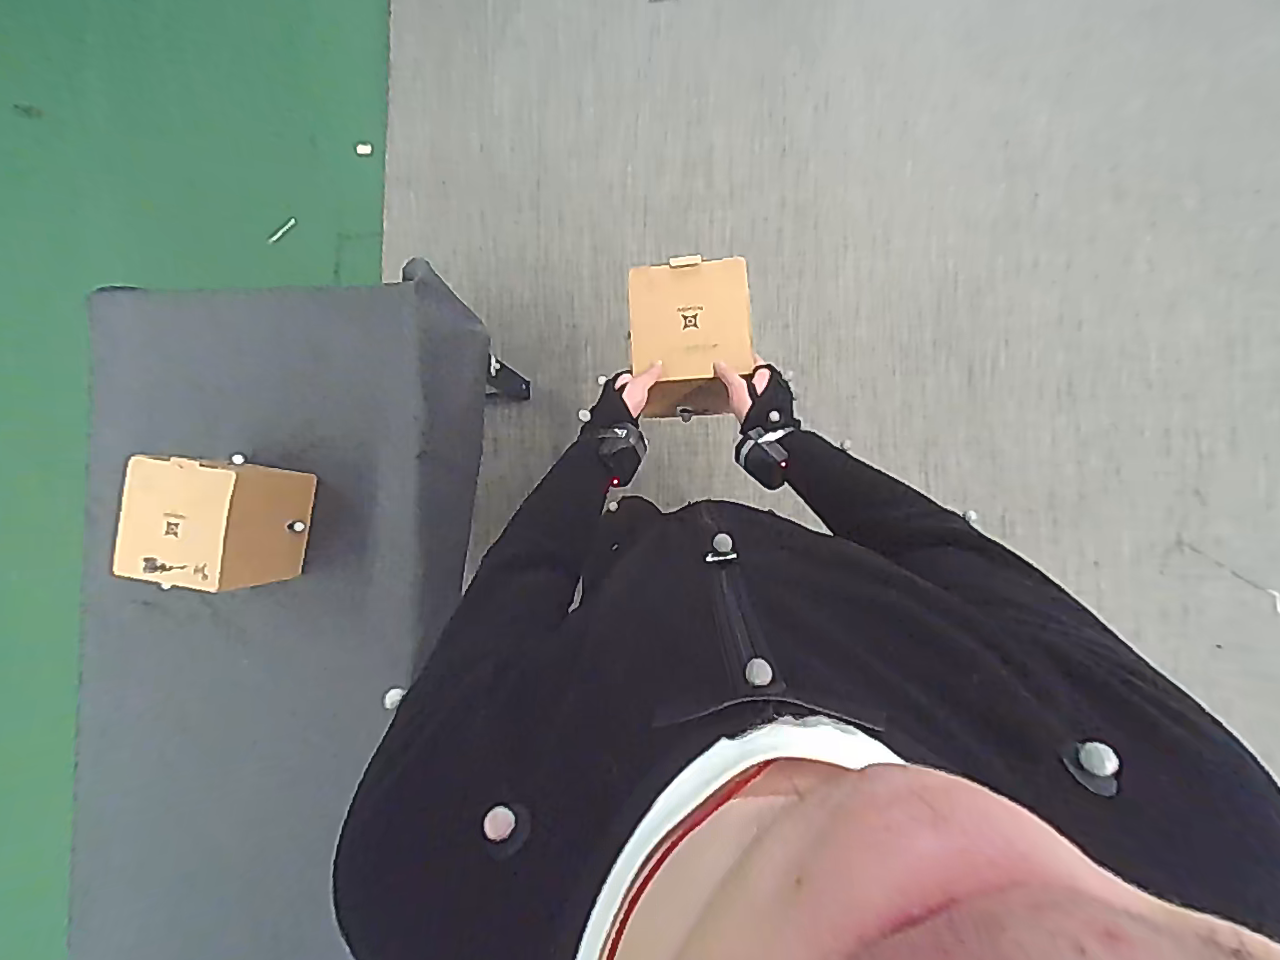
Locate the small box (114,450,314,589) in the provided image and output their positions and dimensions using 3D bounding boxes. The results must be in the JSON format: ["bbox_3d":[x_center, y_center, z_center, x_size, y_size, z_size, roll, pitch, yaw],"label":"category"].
[{"bbox_3d":[-0.646,0.058,0.843,0.168,0.176,0.179,9,88,5],"label":"small box"}]

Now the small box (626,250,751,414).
[{"bbox_3d":[0.071,-0.207,0.794,0.168,0.176,0.179,-2,79,7],"label":"small box"}]
